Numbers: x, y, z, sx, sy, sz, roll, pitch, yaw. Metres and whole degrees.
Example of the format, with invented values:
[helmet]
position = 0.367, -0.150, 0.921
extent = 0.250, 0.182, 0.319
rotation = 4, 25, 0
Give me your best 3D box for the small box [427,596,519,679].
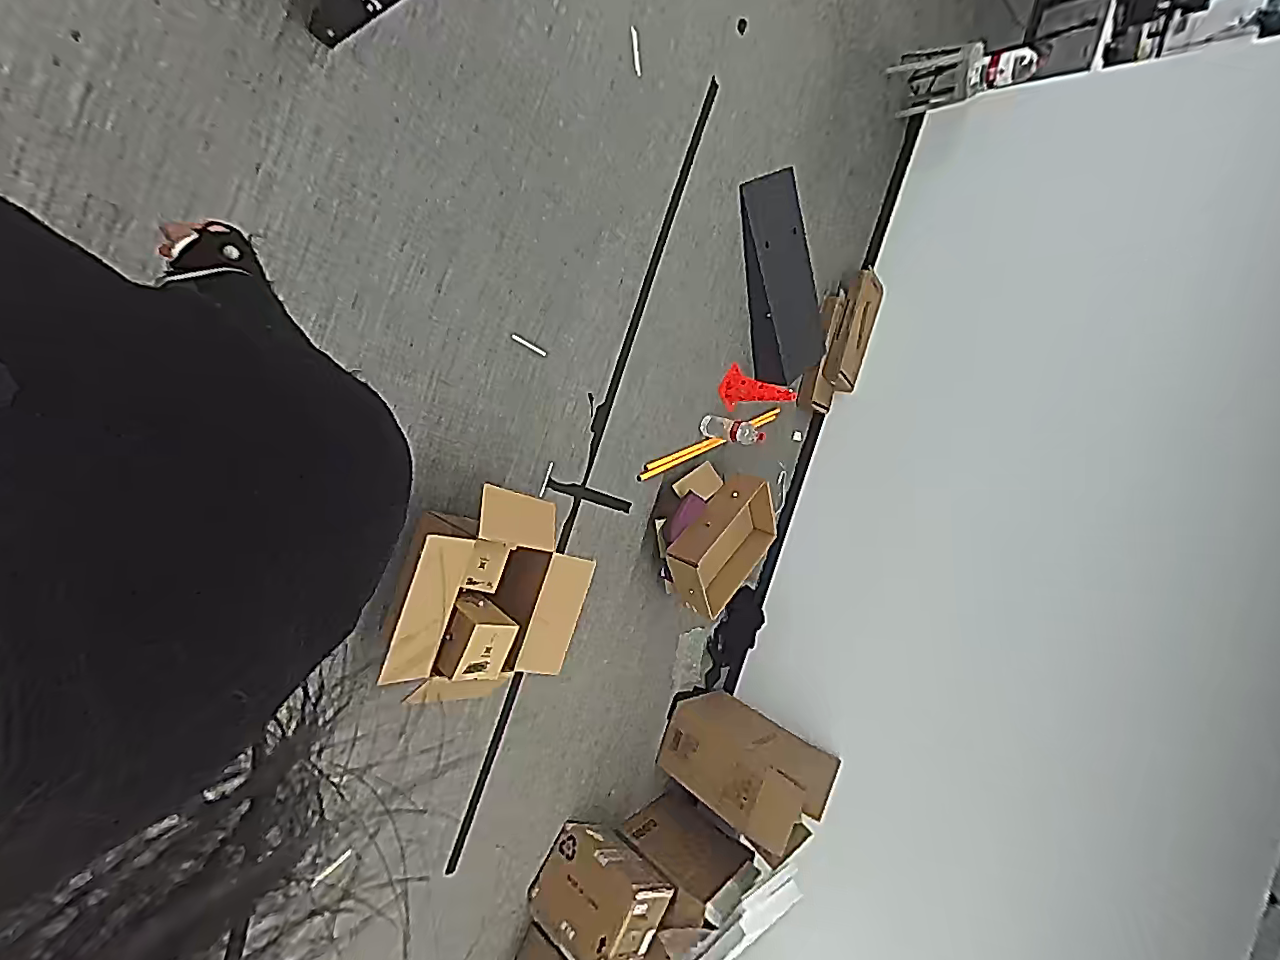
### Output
[small box]
position = -0.497, 0.464, 1.594
extent = 0.168, 0.176, 0.179
rotation = 24, 89, -52
